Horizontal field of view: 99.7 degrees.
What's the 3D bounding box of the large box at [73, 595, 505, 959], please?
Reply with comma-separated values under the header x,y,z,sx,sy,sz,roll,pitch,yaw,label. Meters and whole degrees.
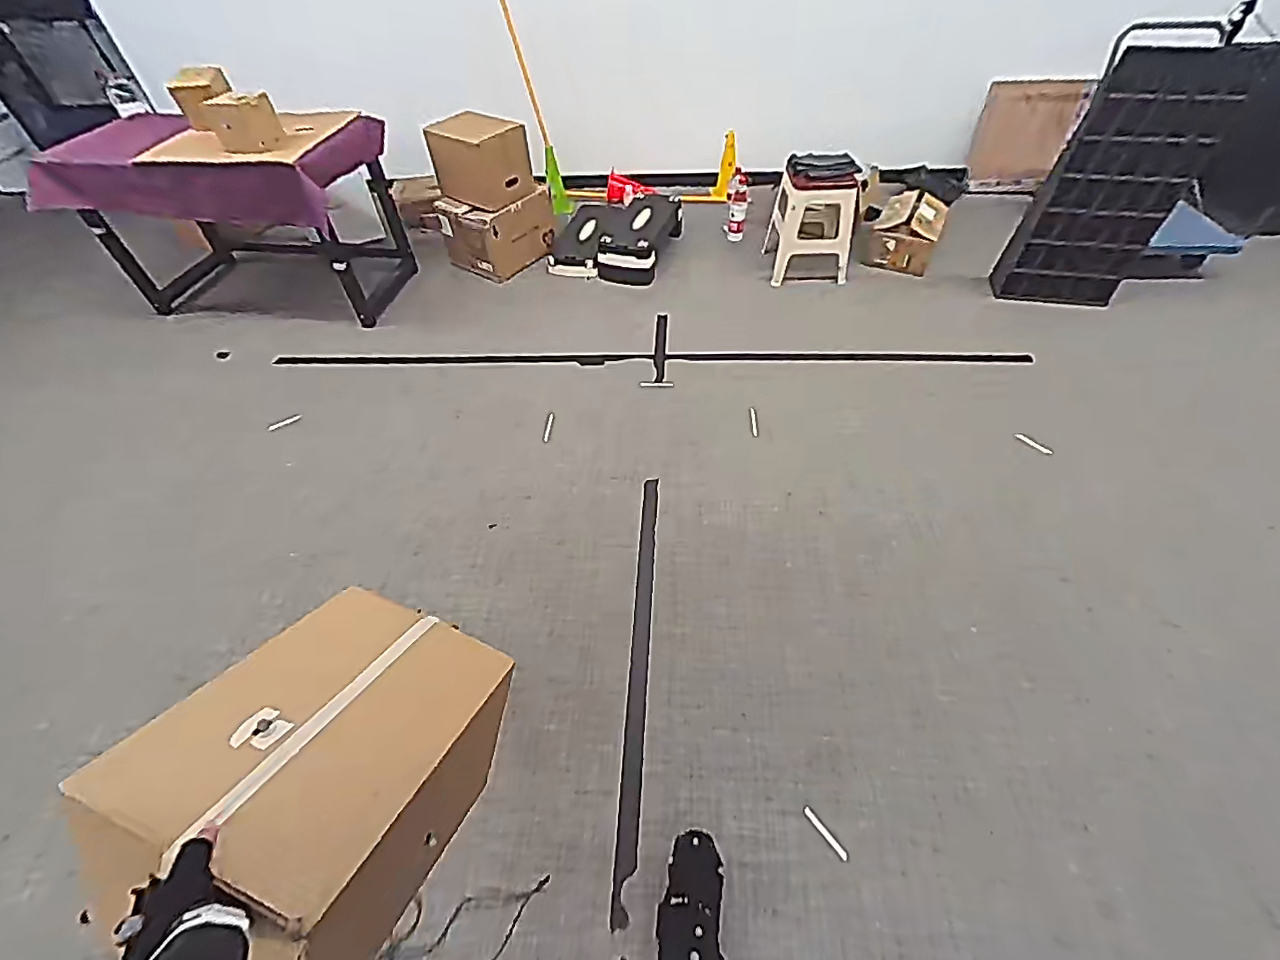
x,y,z,sx,sy,sz,roll,pitch,yaw,label
-0.447,0.445,0.782,0.320,0.320,0.408,21,24,8,large box
